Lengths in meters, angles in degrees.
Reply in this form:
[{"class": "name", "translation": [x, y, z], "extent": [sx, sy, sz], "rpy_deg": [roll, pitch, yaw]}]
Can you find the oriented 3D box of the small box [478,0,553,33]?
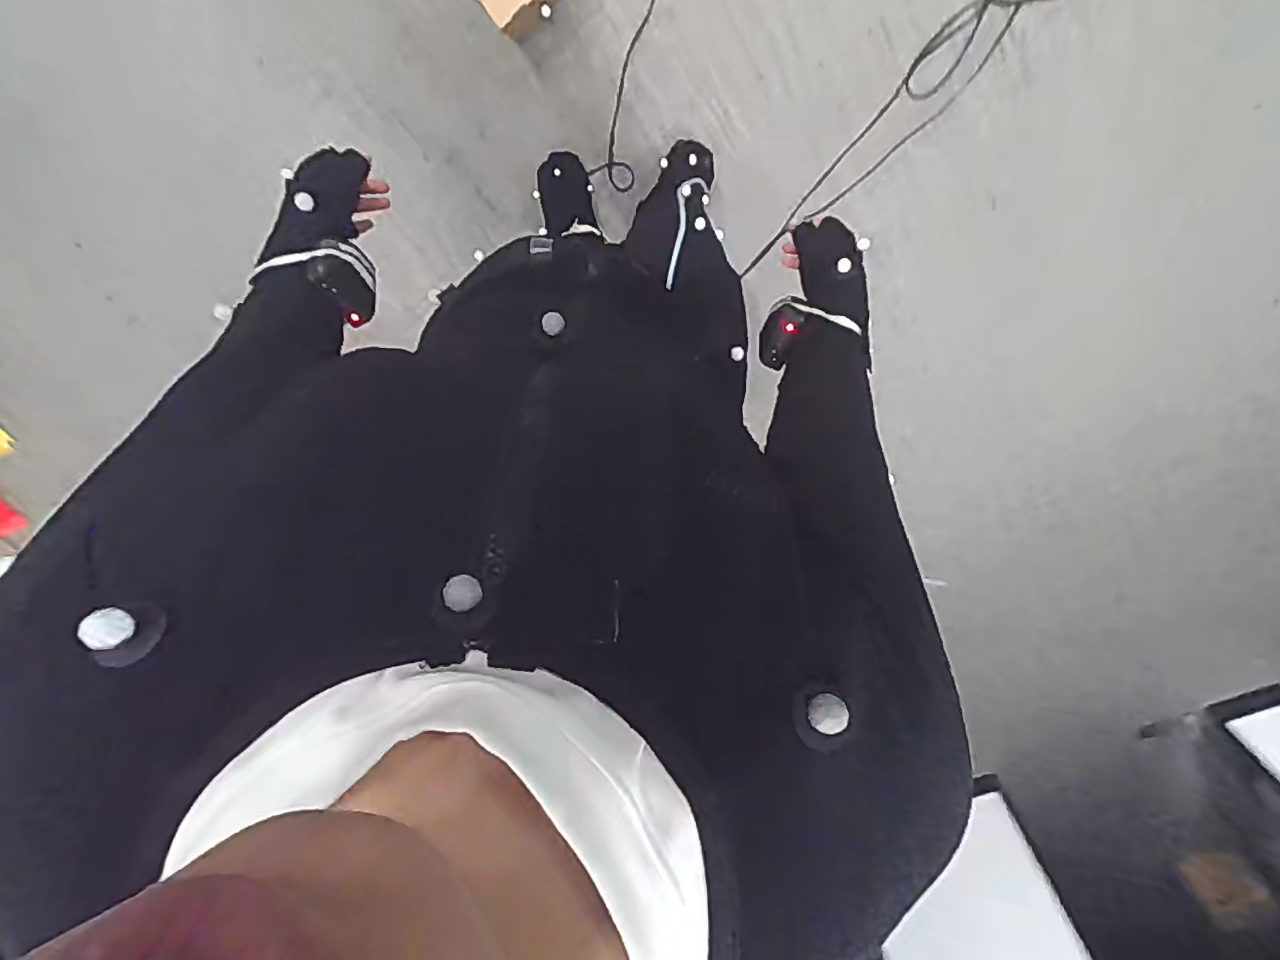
[{"class": "small box", "translation": [-0.228, -0.922, 0.939], "extent": [0.168, 0.176, 0.179], "rpy_deg": [-31, 119, 18]}]
